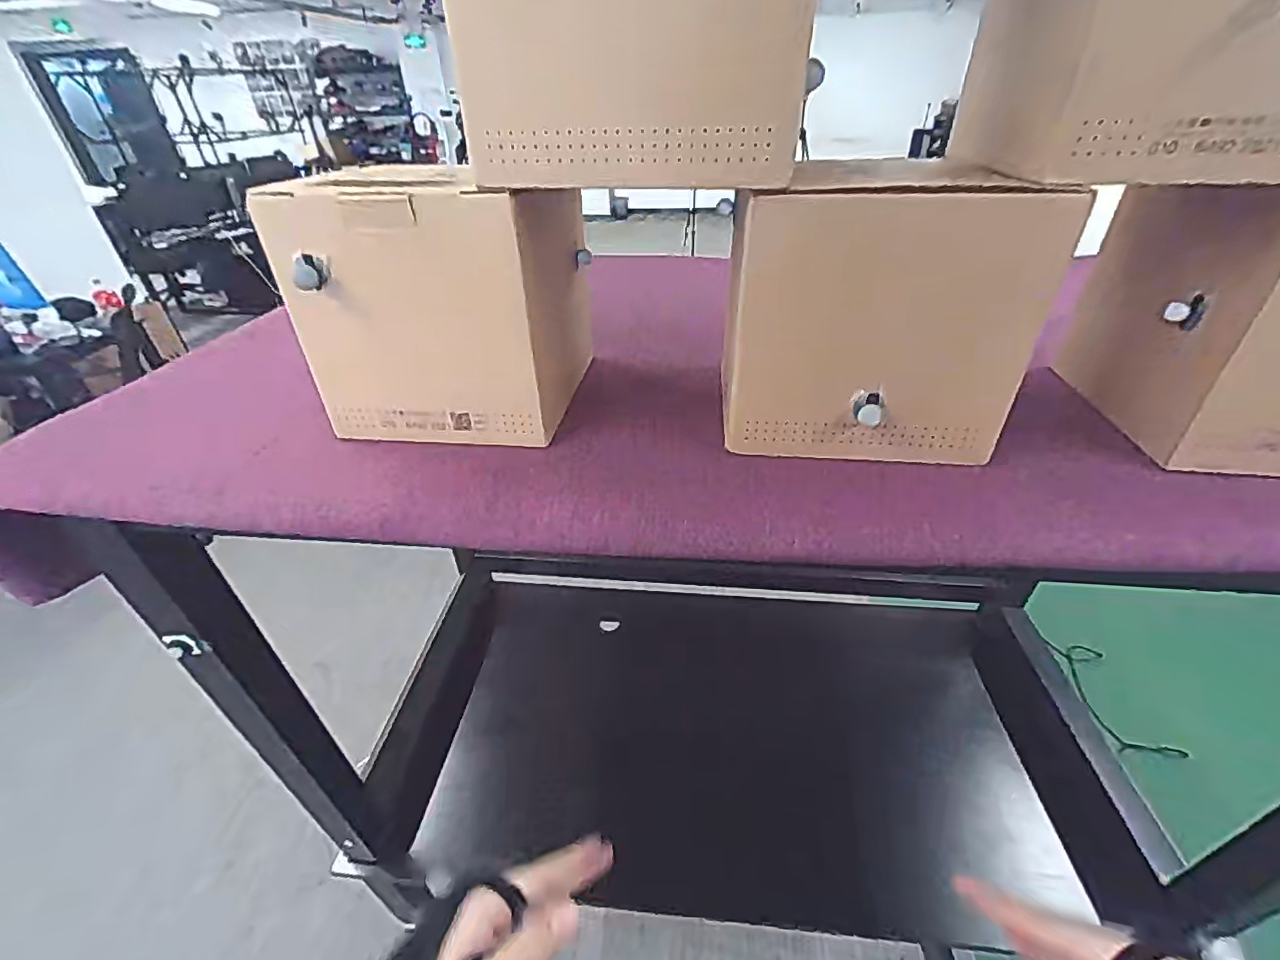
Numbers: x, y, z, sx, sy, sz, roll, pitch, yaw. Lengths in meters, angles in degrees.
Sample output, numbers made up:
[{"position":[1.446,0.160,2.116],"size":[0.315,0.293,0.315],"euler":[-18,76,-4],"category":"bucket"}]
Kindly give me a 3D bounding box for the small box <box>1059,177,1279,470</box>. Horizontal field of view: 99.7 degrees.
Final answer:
[{"position":[0.431,-0.113,0.357],"size":[0.168,0.176,0.179],"euler":[5,34,10],"category":"small box"}]

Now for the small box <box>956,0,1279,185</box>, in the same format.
[{"position":[0.296,-0.257,0.282],"size":[0.168,0.176,0.179],"euler":[5,35,9],"category":"small box"}]

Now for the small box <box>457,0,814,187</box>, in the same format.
[{"position":[0.004,-0.268,0.308],"size":[0.179,0.176,0.168],"euler":[5,35,7],"category":"small box"}]
